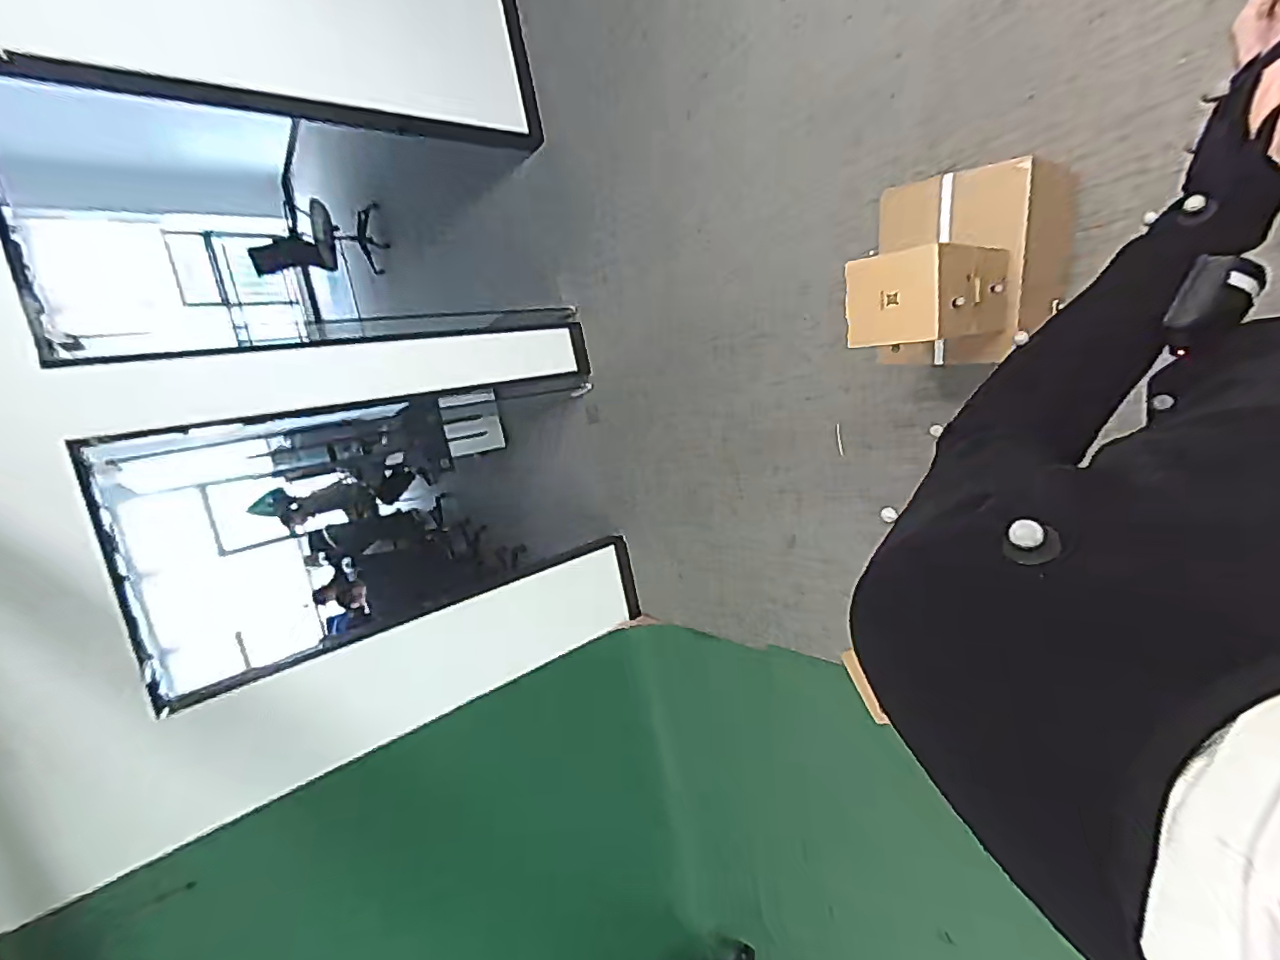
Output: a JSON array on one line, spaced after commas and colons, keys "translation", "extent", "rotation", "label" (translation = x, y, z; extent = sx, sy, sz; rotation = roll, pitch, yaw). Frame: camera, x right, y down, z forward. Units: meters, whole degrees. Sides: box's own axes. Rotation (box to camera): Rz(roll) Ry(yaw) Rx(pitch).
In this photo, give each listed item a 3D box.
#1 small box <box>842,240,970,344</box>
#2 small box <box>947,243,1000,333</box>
[{"translation": [0.519, -0.363, 1.049], "extent": [0.179, 0.176, 0.168], "rotation": [8, 111, 51], "label": "small box"}, {"translation": [0.643, -0.399, 1.149], "extent": [0.179, 0.176, 0.168], "rotation": [8, 110, 49], "label": "small box"}]
